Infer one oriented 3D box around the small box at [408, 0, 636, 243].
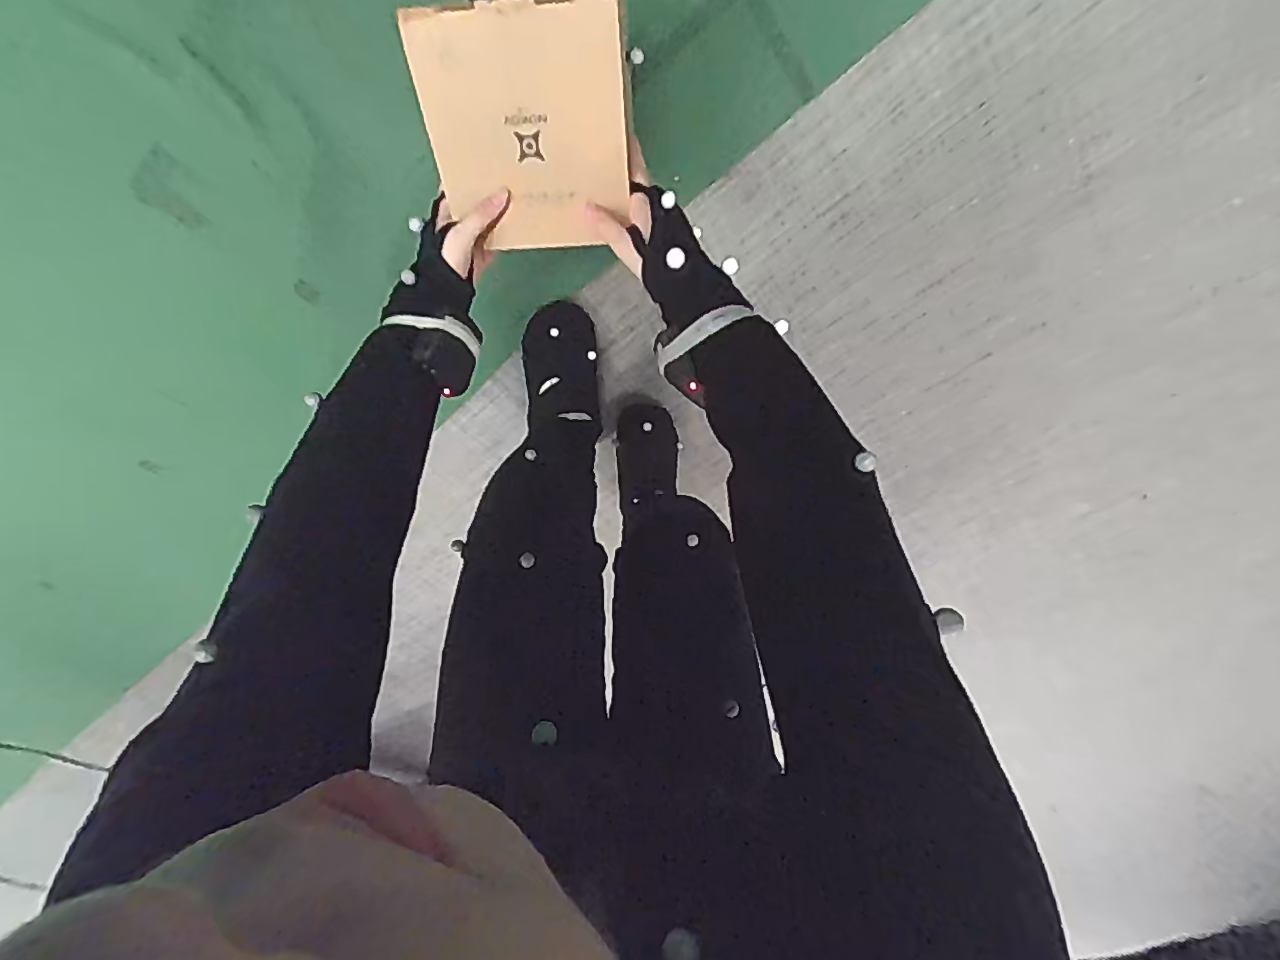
[{"bbox_3d":[-0.090,-0.346,0.513,0.168,0.176,0.179,-1,133,3],"label":"small box"}]
